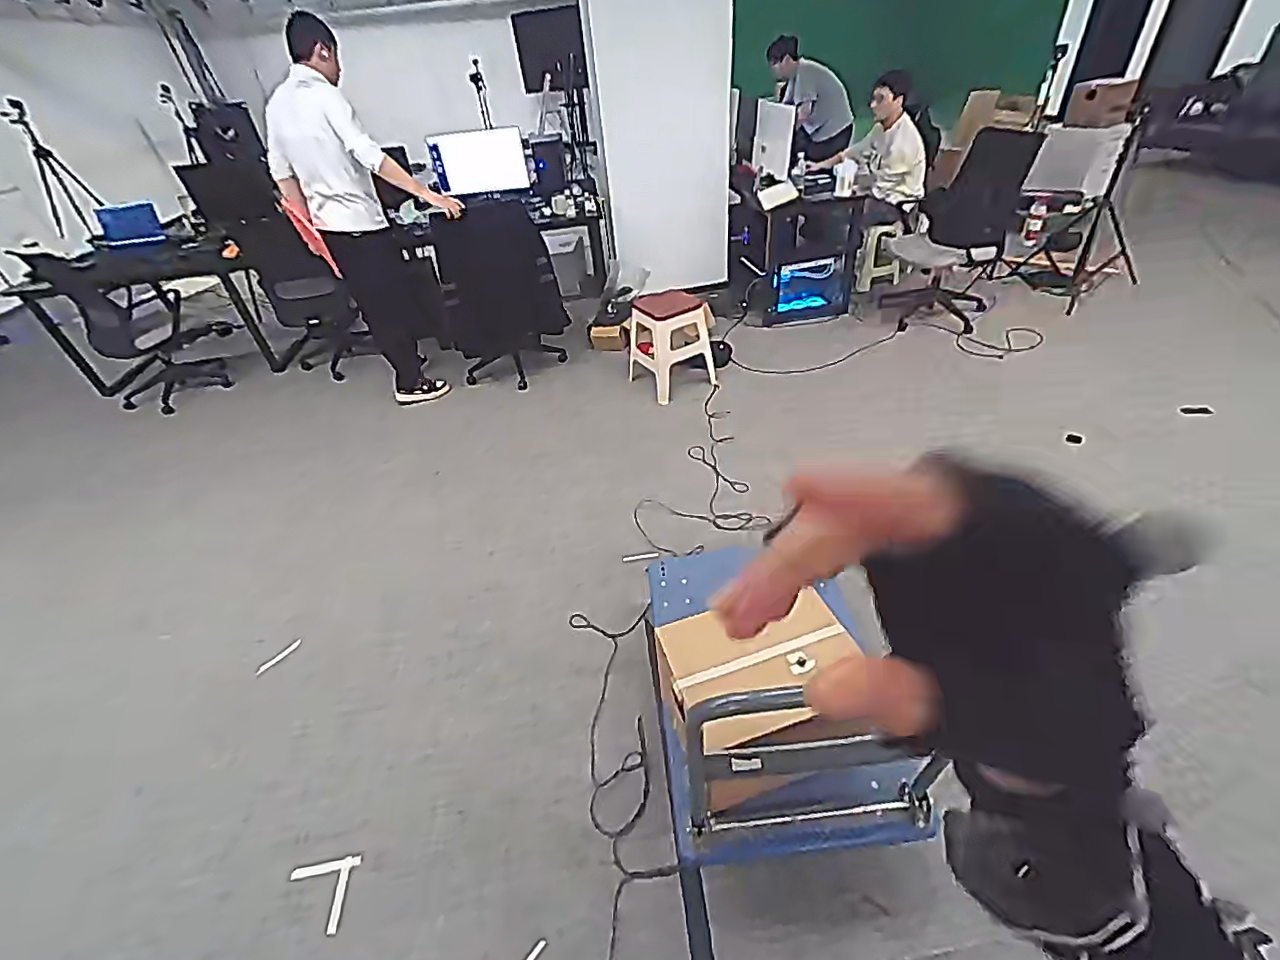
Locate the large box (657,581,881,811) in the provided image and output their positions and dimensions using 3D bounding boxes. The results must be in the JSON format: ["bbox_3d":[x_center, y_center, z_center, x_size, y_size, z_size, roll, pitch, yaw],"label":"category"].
[{"bbox_3d":[0.282,0.506,1.289,0.408,0.320,0.320,-15,40,-11],"label":"large box"}]
